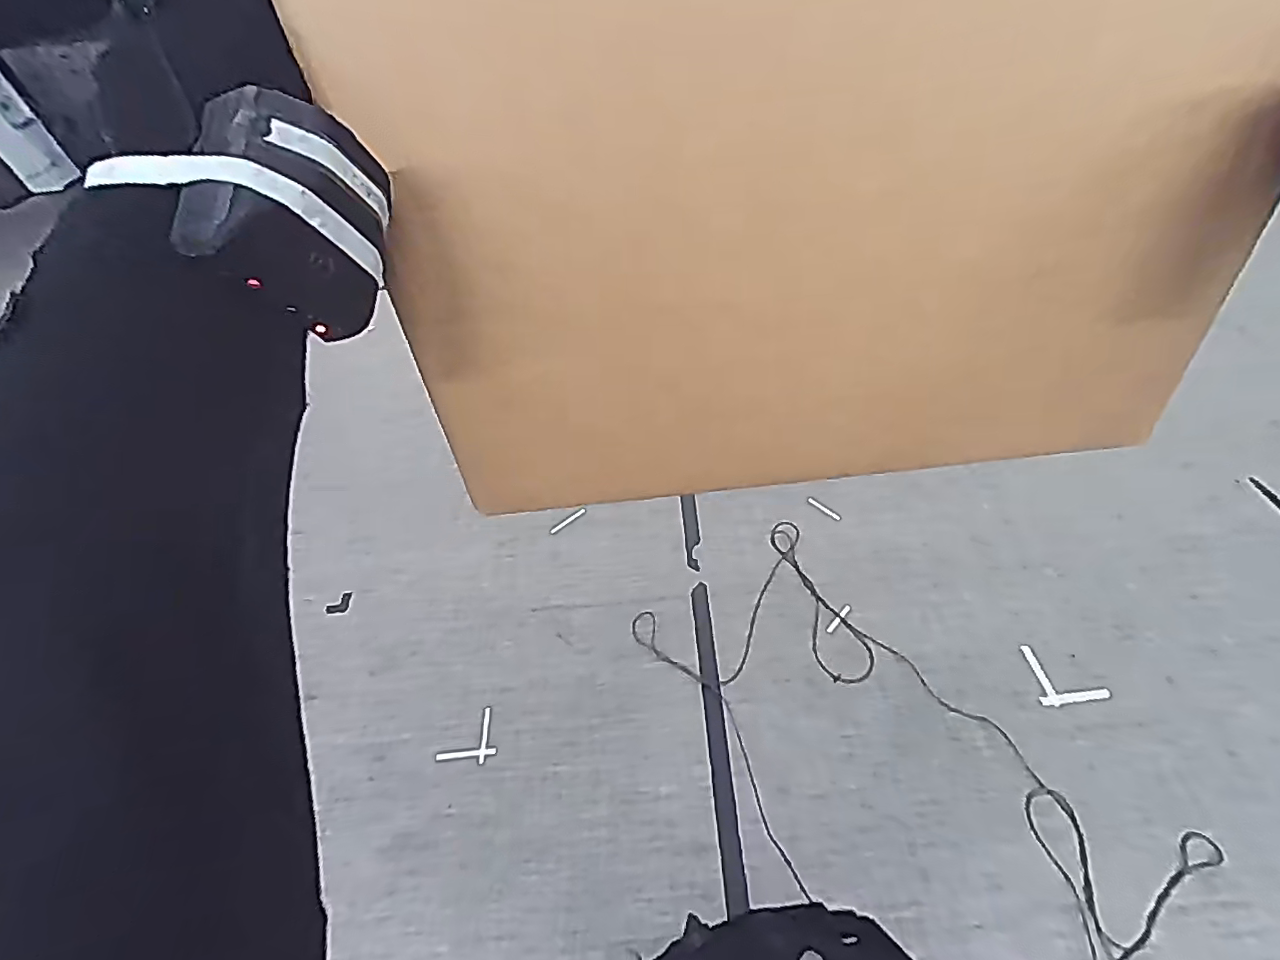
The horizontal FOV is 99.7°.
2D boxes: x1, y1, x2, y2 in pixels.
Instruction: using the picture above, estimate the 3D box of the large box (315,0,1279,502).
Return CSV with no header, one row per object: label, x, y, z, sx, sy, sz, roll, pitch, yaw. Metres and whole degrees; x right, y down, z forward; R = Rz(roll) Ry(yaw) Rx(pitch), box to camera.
large box,0.075,-0.212,0.367,0.408,0.320,0.320,-6,37,1
